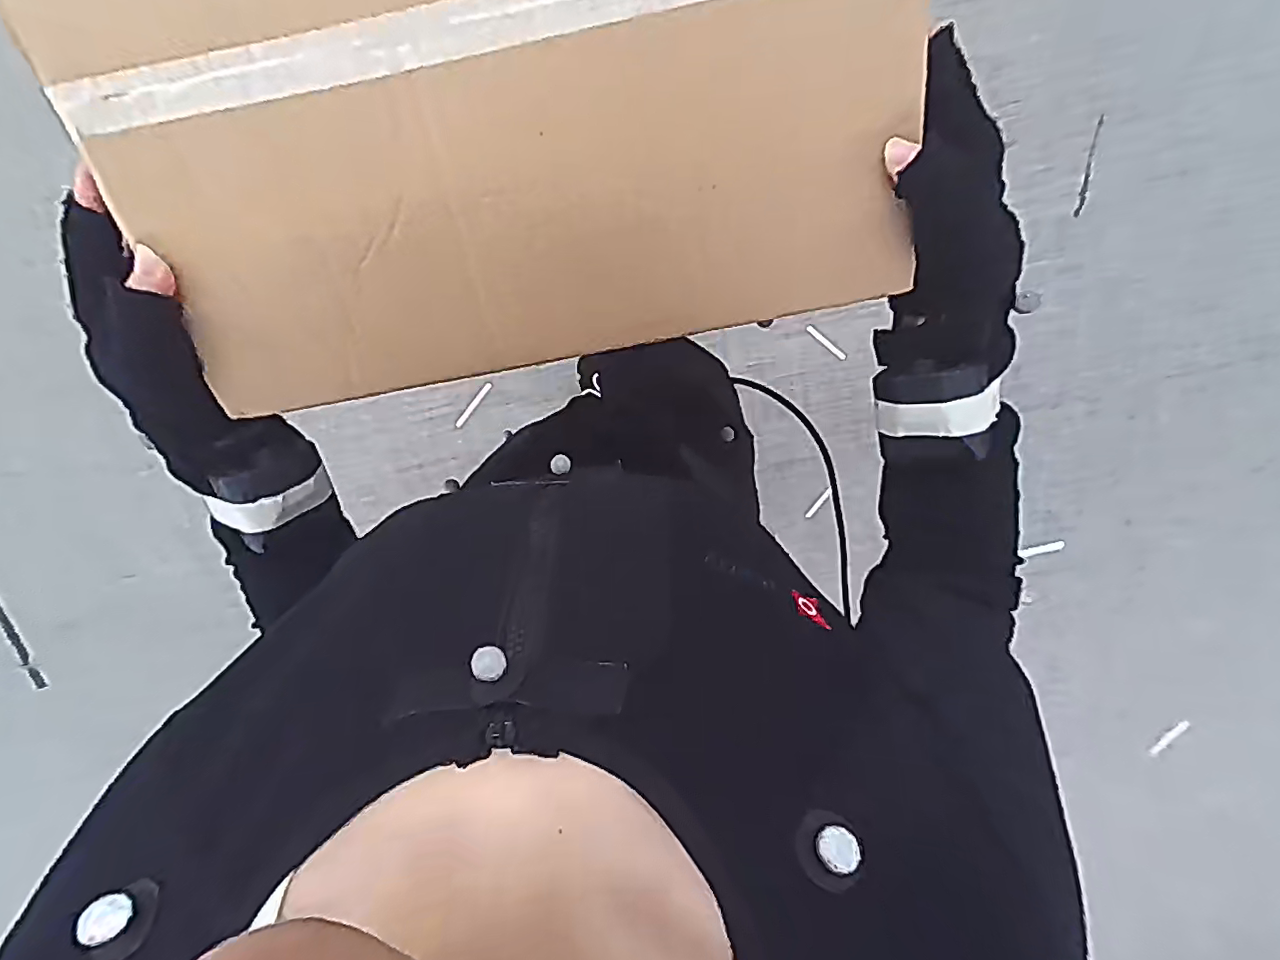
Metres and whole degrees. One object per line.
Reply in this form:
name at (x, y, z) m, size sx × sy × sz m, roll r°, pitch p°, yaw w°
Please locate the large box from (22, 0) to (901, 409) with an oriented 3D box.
large box at (-0.079, -0.281, 0.387) m, size 0.408 × 0.320 × 0.320 m, roll -10°, pitch 116°, yaw 3°
